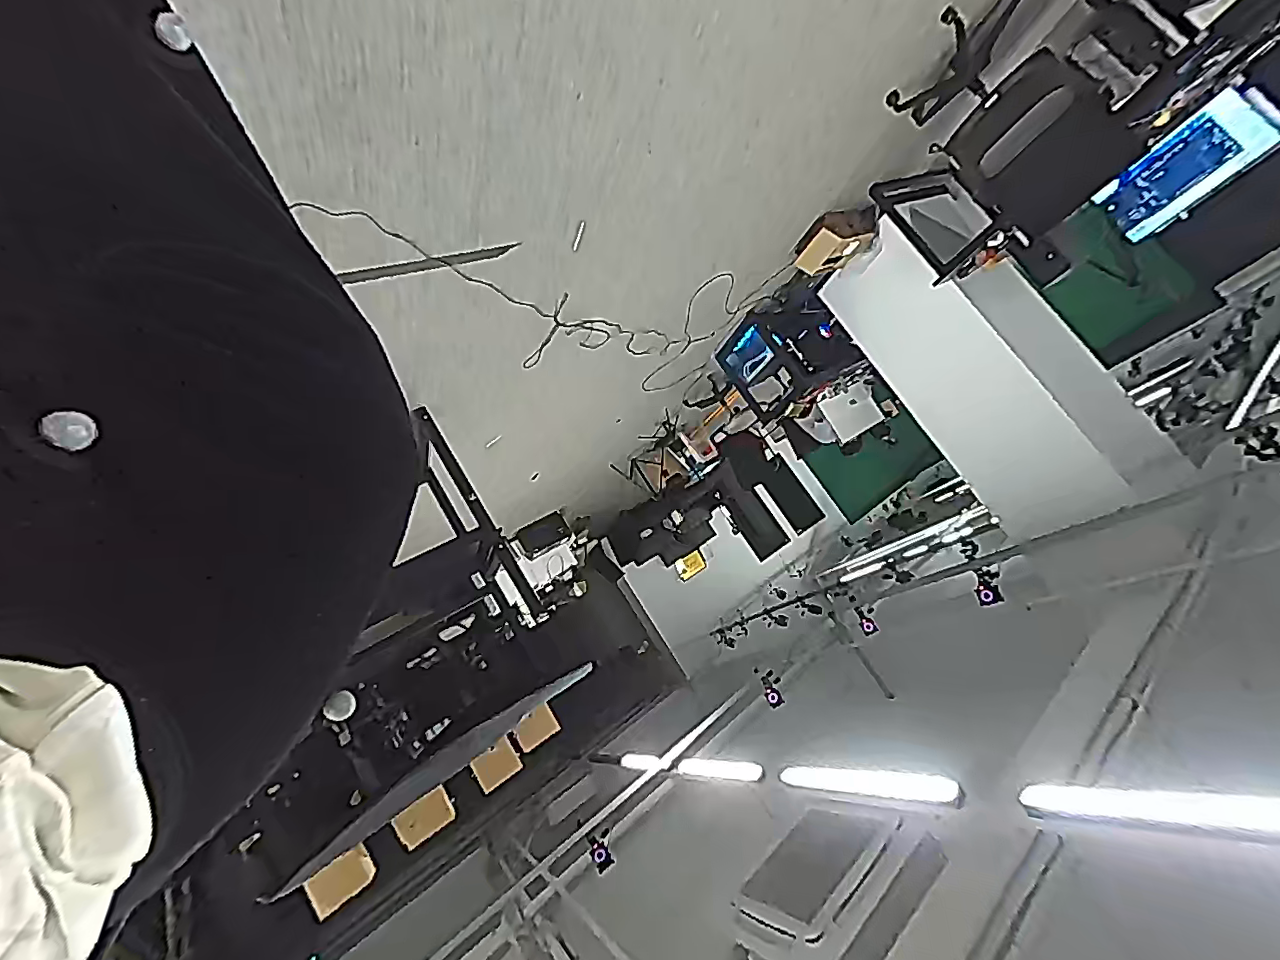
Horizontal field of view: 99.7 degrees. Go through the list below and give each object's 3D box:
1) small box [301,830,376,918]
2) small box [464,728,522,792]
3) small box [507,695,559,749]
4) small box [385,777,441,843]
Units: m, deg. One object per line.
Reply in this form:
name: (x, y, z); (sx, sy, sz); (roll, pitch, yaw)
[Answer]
small box: (-1.054, 1.370, 1.893); (0.168, 0.176, 0.179); (-29, 170, -28)
small box: (-0.601, 1.131, 2.200); (0.168, 0.176, 0.179); (-29, 170, -27)
small box: (-0.513, 1.152, 2.567); (0.179, 0.176, 0.168); (-27, 168, -29)
small box: (-0.958, 1.385, 2.283); (0.168, 0.176, 0.179); (-28, 168, -30)
